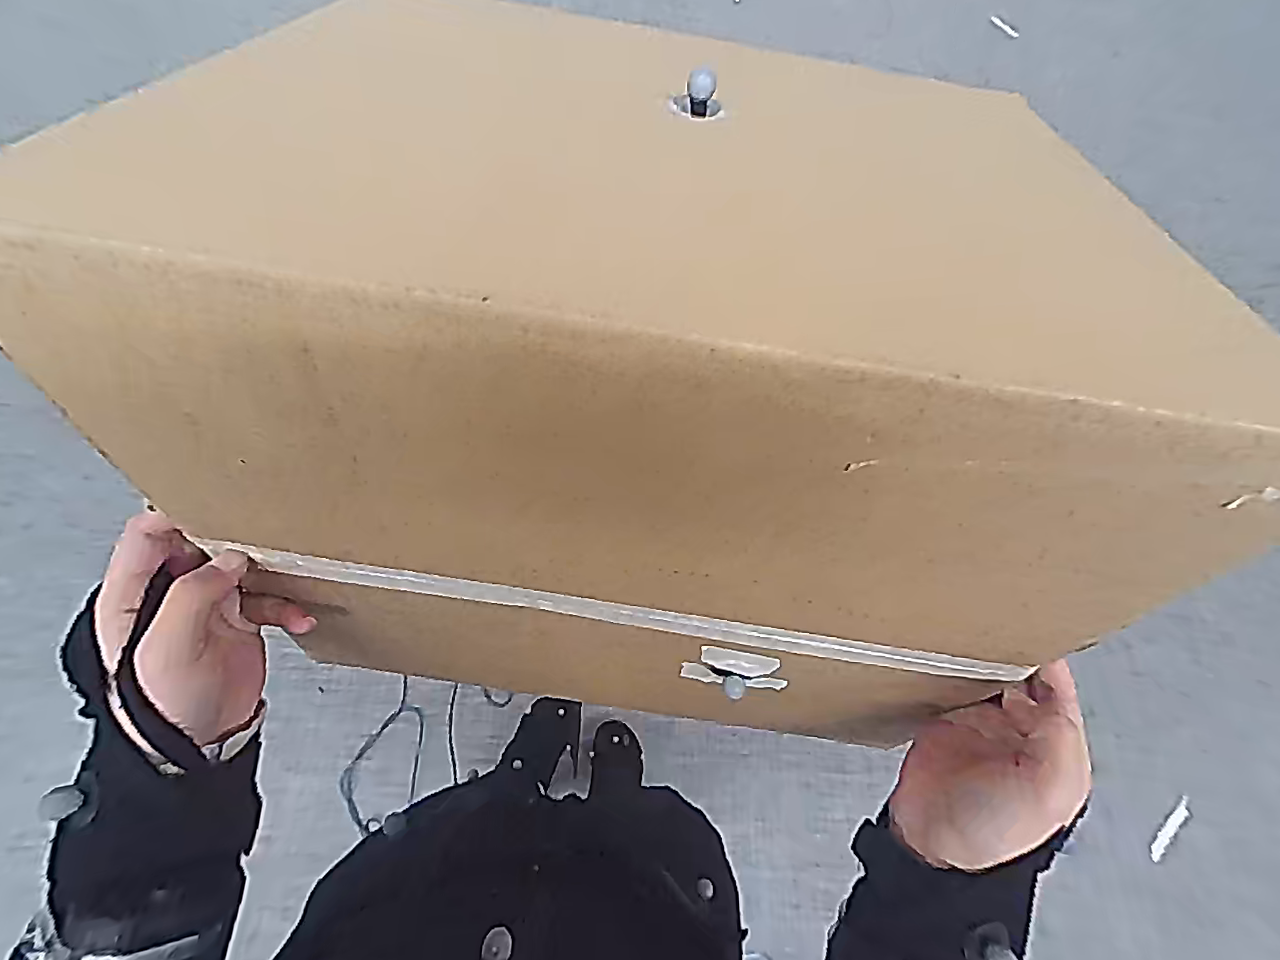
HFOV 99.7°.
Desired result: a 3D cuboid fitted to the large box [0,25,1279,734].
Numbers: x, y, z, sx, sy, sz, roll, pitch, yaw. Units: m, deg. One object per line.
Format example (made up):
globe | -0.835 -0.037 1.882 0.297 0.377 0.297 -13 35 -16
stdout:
large box | 0.006 -0.056 0.362 0.408 0.320 0.320 8 52 -1
